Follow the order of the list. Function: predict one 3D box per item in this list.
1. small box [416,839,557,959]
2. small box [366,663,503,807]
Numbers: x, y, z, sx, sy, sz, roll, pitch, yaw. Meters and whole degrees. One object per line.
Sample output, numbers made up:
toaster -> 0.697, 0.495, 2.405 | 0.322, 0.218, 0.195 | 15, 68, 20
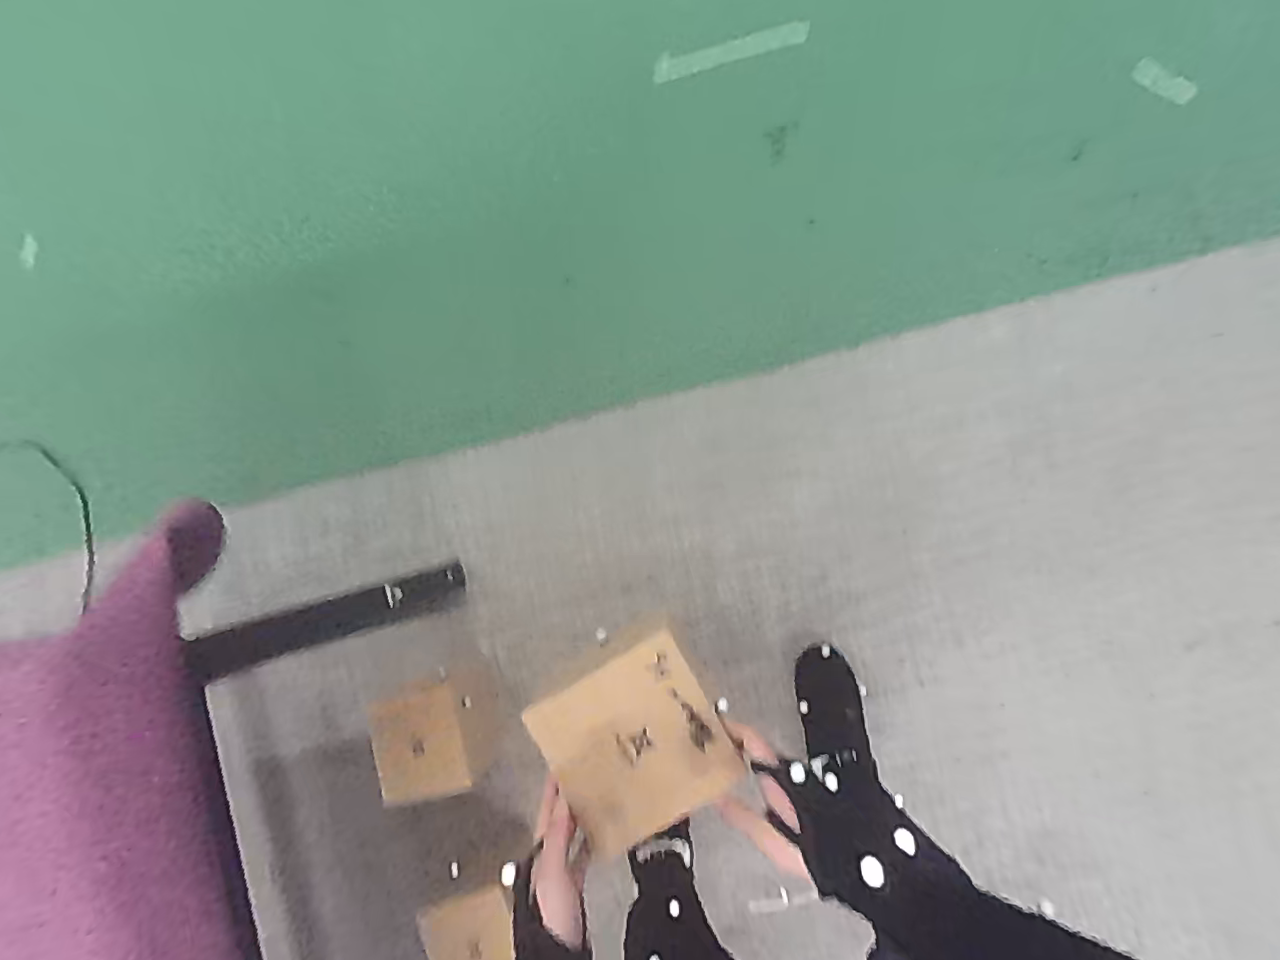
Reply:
small box -> -0.268, 0.793, 0.981 | 0.168, 0.176, 0.179 | -22, 86, 5
small box -> -0.372, 0.464, 1.007 | 0.168, 0.176, 0.179 | -15, 85, 5
